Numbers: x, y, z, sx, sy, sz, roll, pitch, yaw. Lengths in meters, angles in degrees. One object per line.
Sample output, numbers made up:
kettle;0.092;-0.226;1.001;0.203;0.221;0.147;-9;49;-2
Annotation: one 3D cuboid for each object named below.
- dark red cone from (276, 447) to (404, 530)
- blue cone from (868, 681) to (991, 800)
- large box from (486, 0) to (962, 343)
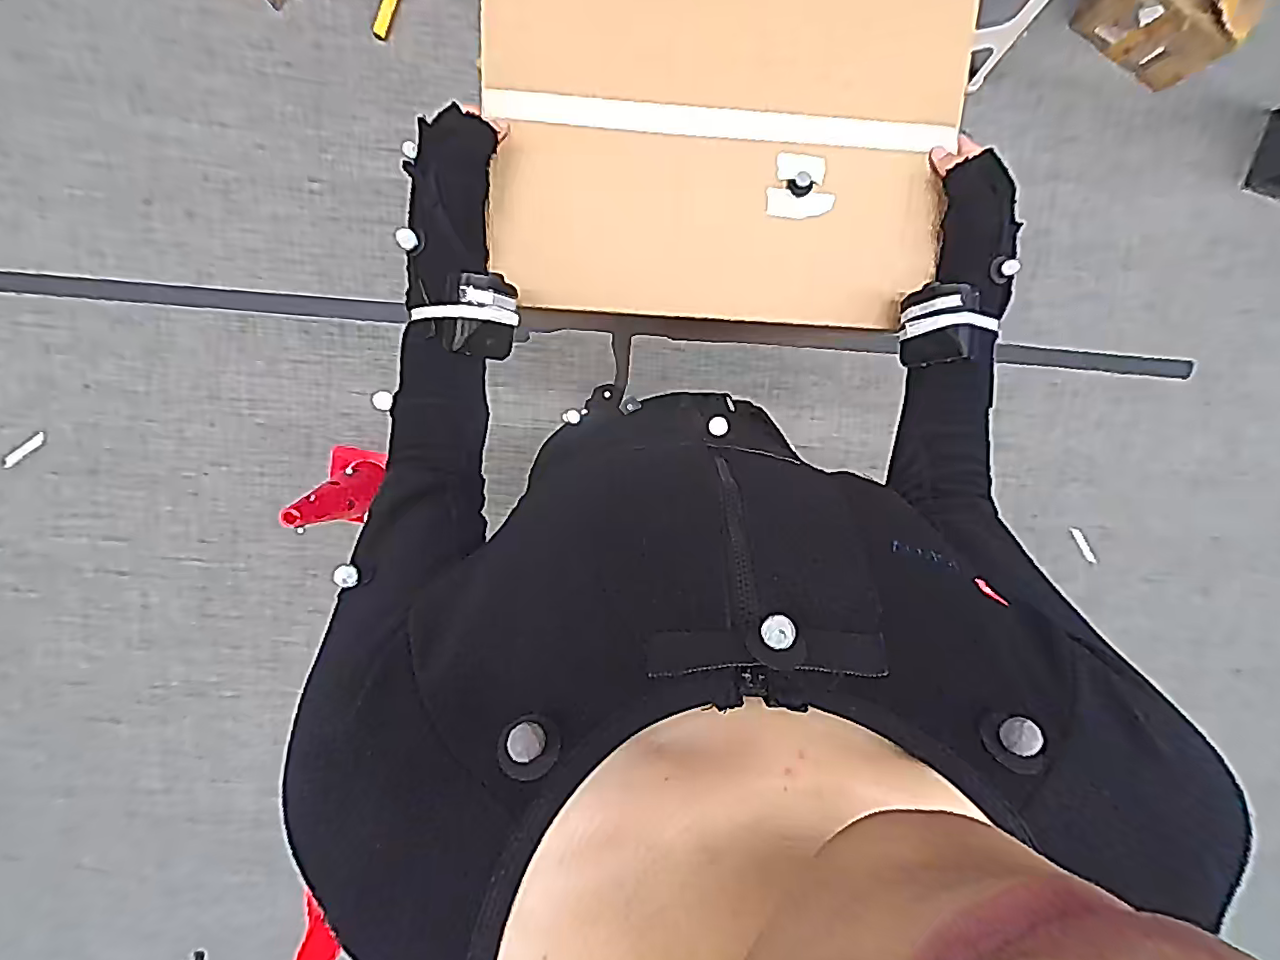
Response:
dark red cone;-0.711;0.047;1.249;0.201;0.394;0.202;10;98;-6
blue cone;0.800;0.723;1.475;0.192;0.380;0.193;7;99;-5
large box;0.059;-0.329;0.610;0.408;0.320;0.320;2;102;-5
